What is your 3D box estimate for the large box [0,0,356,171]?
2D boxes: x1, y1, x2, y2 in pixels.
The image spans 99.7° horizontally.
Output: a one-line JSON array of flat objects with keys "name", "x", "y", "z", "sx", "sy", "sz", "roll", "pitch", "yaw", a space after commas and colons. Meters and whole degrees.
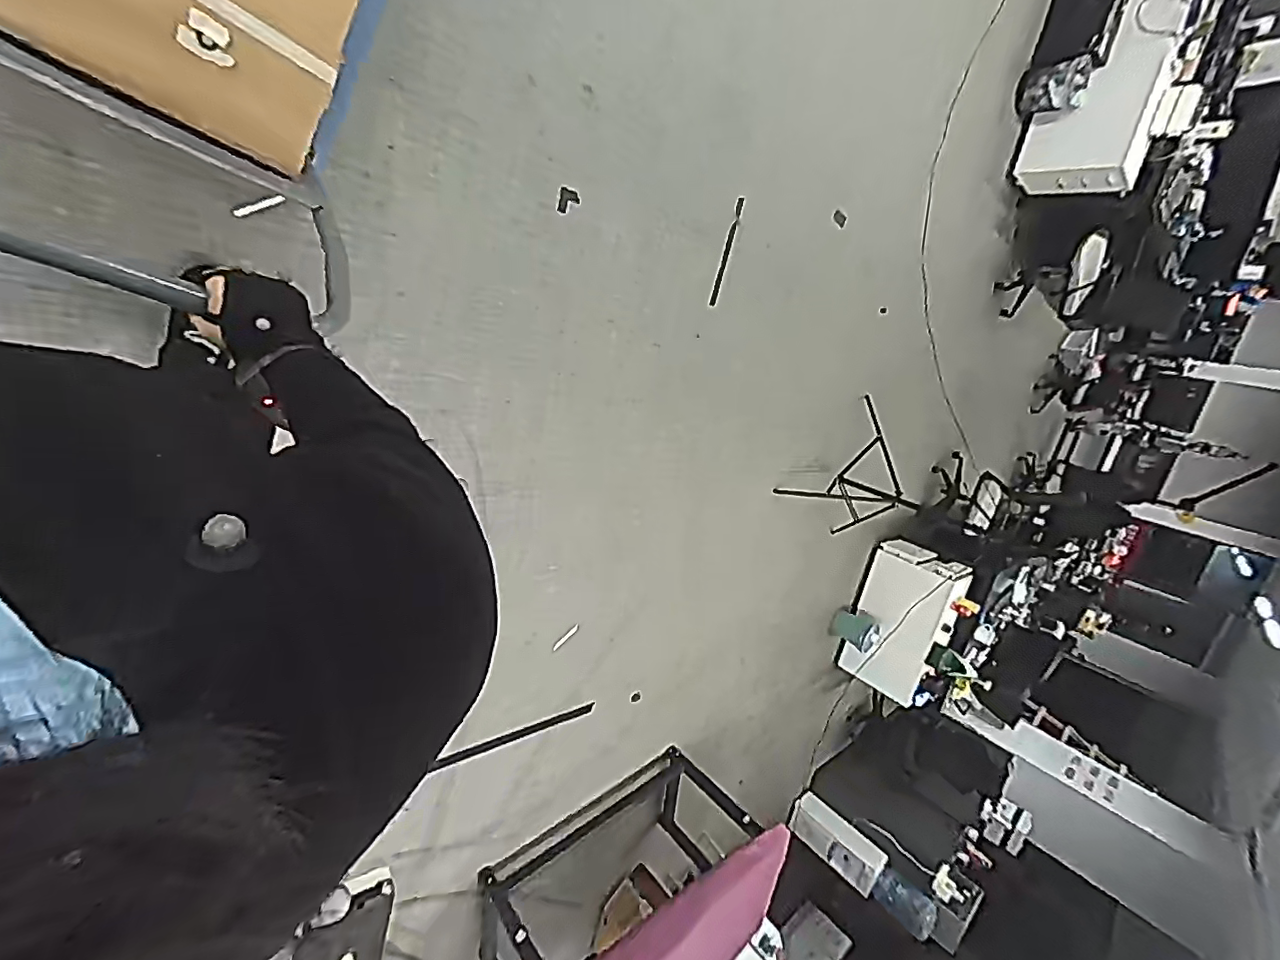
[{"name": "large box", "x": -0.663, "y": -0.714, "z": 0.734, "sx": 0.408, "sy": 0.320, "sz": 0.320, "roll": 14, "pitch": 119, "yaw": -47}]
